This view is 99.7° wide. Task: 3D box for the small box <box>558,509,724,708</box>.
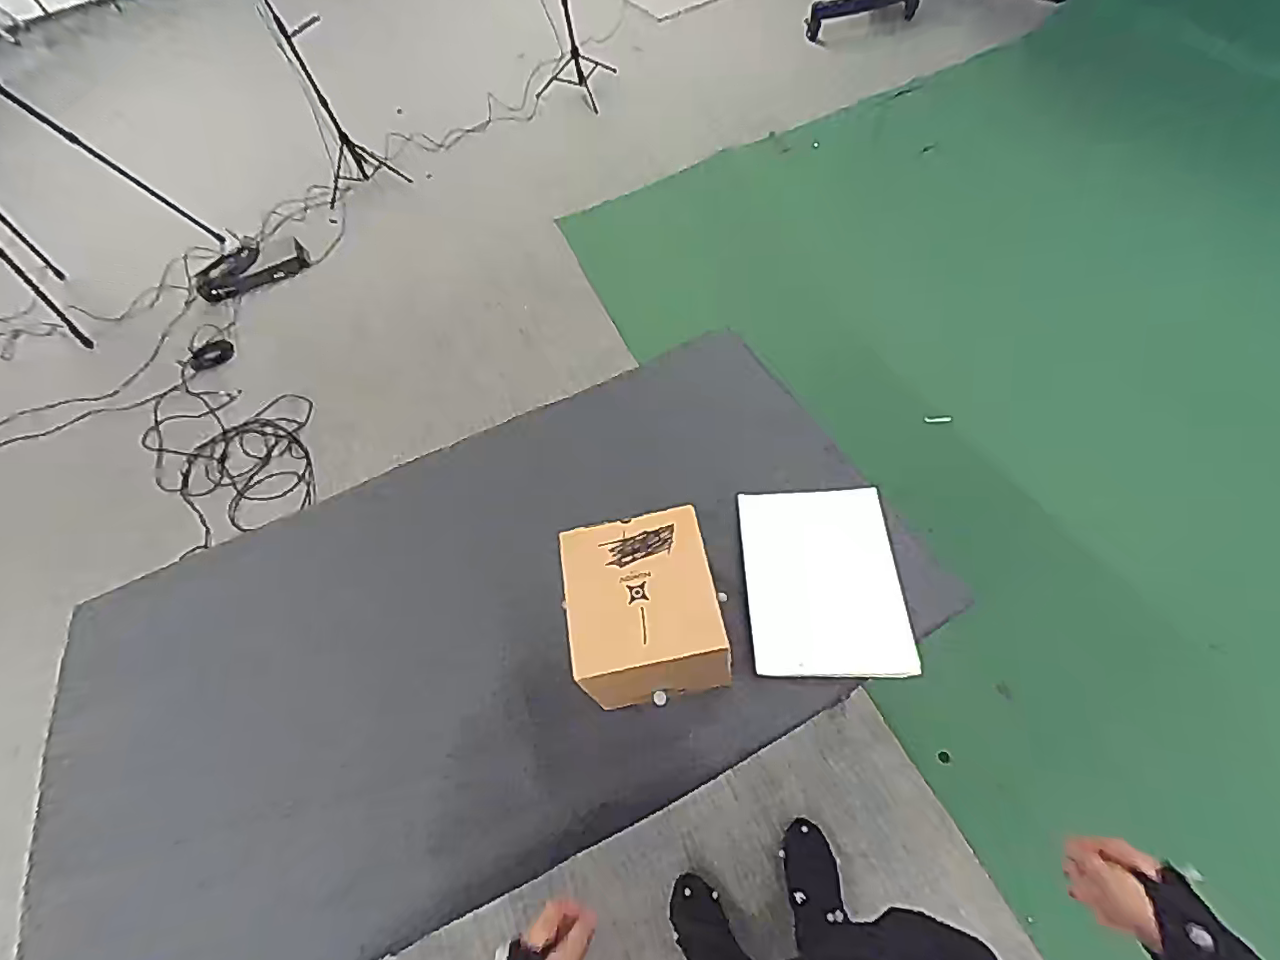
[{"bbox_3d":[0.004,0.164,0.669,0.168,0.176,0.179,-13,57,2],"label":"small box"}]
